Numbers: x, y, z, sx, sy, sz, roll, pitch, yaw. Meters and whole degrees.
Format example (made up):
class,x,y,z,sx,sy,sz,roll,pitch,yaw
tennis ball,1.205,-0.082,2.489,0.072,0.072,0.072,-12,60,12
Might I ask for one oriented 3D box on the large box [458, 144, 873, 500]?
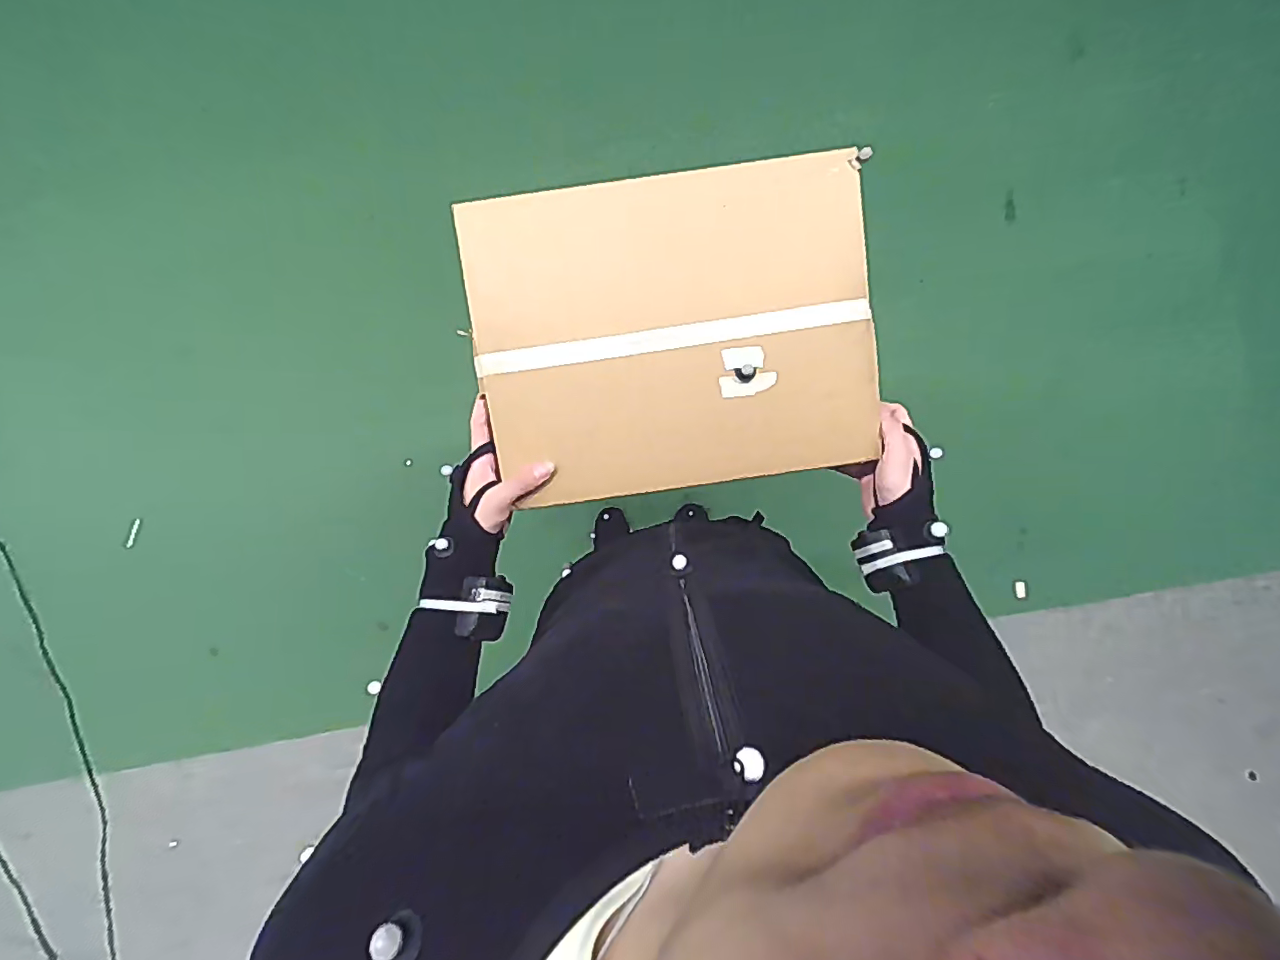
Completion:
class,x,y,z,sx,sy,sz,roll,pitch,yaw
large box,0.028,-0.177,0.709,0.408,0.320,0.320,-8,99,-1
